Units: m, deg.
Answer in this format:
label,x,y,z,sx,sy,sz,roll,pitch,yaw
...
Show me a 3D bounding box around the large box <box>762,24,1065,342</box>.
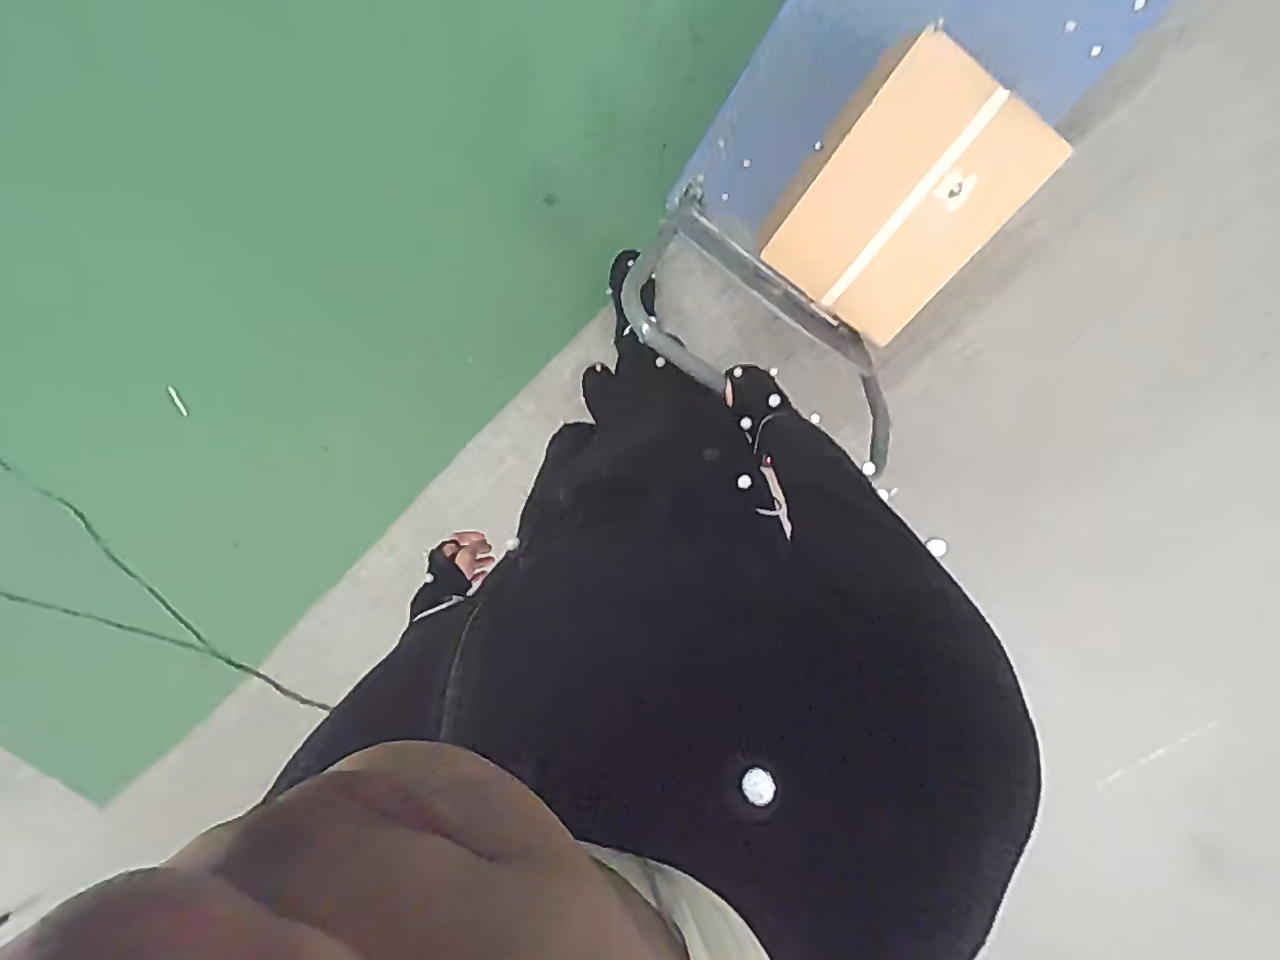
label,x,y,z,sx,sy,sz,roll,pitch,yaw
large box,0.486,-0.562,1.075,0.320,0.320,0.408,31,123,-11
